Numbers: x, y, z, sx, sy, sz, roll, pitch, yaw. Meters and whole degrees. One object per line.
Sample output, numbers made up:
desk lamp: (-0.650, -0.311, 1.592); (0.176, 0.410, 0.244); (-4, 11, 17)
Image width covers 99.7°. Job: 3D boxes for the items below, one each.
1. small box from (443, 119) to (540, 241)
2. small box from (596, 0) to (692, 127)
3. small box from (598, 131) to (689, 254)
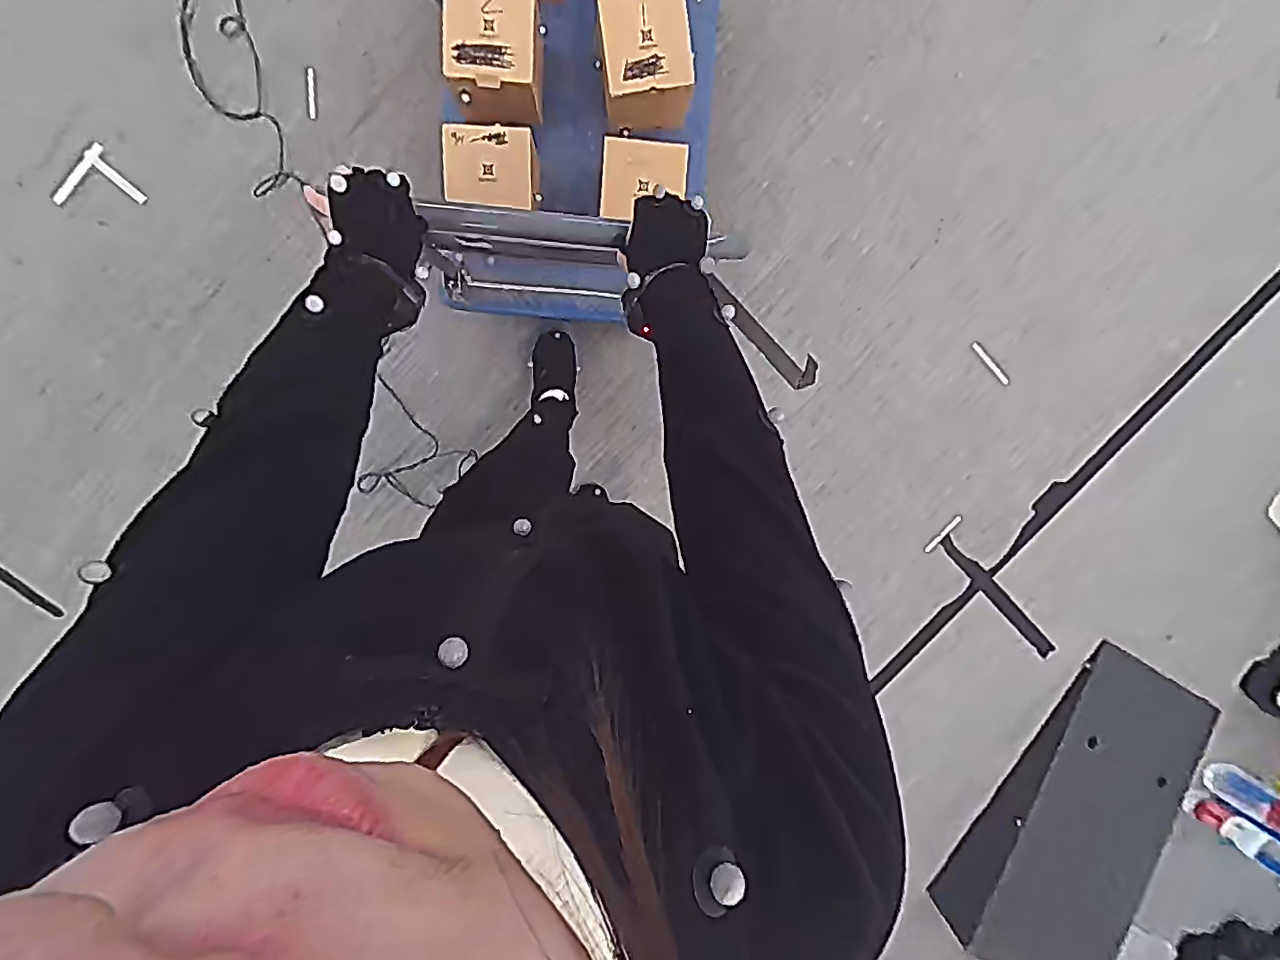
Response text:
small box: (-0.295, -0.601, 1.106); (0.168, 0.176, 0.179); (0, 99, -5)
small box: (0.006, -0.844, 1.092); (0.168, 0.176, 0.179); (-8, 98, -3)
small box: (0.002, -0.588, 1.131); (0.168, 0.176, 0.179); (4, 98, -5)
